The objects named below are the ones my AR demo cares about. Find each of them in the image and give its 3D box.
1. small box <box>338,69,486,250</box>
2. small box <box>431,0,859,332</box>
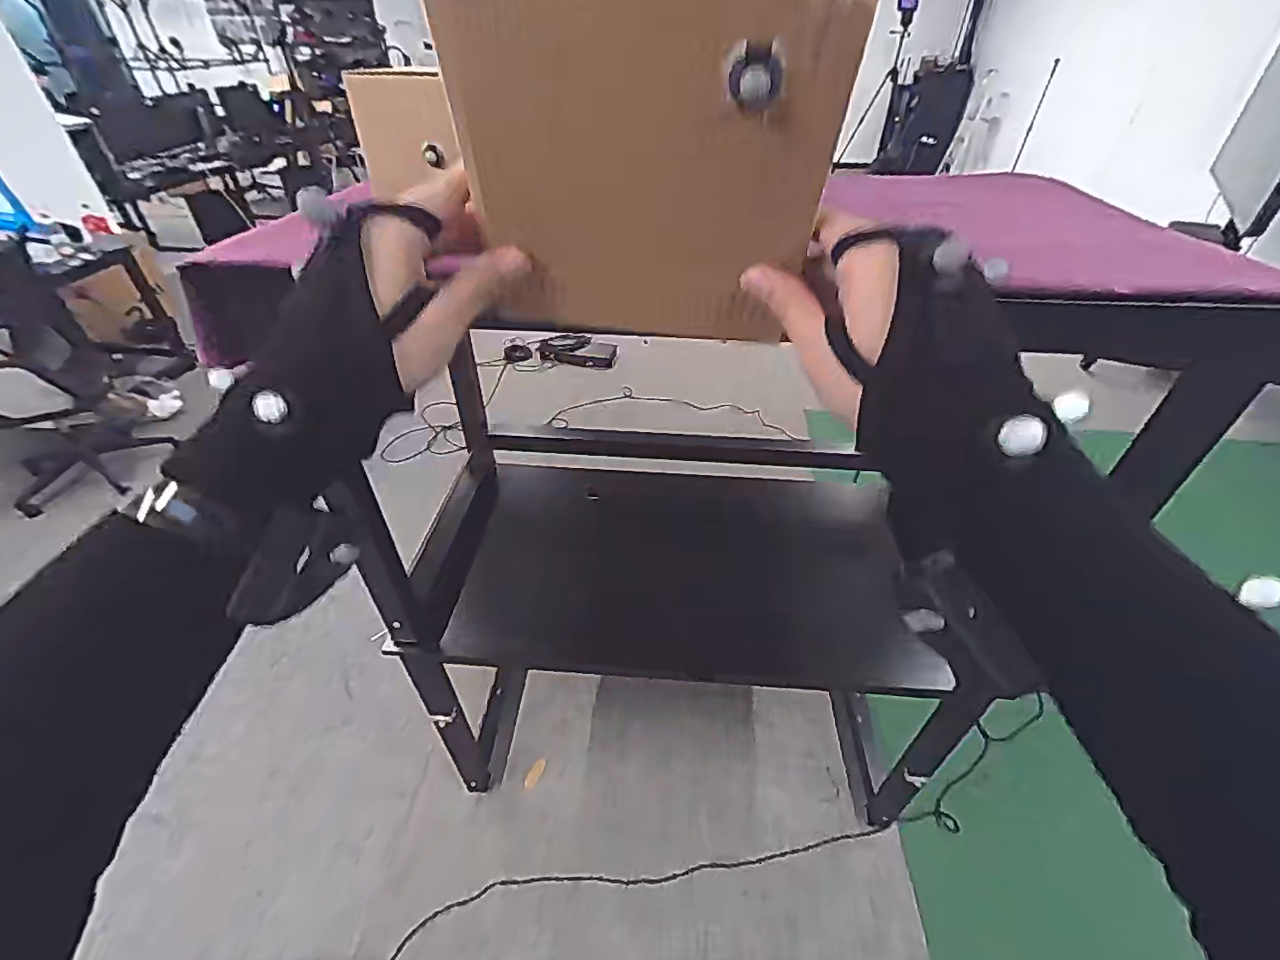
[{"bbox_3d":[-0.218,-0.388,0.658,0.179,0.176,0.168,1,39,2],"label":"small box"},{"bbox_3d":[0.006,-0.205,0.308,0.179,0.176,0.168,7,55,3],"label":"small box"}]
